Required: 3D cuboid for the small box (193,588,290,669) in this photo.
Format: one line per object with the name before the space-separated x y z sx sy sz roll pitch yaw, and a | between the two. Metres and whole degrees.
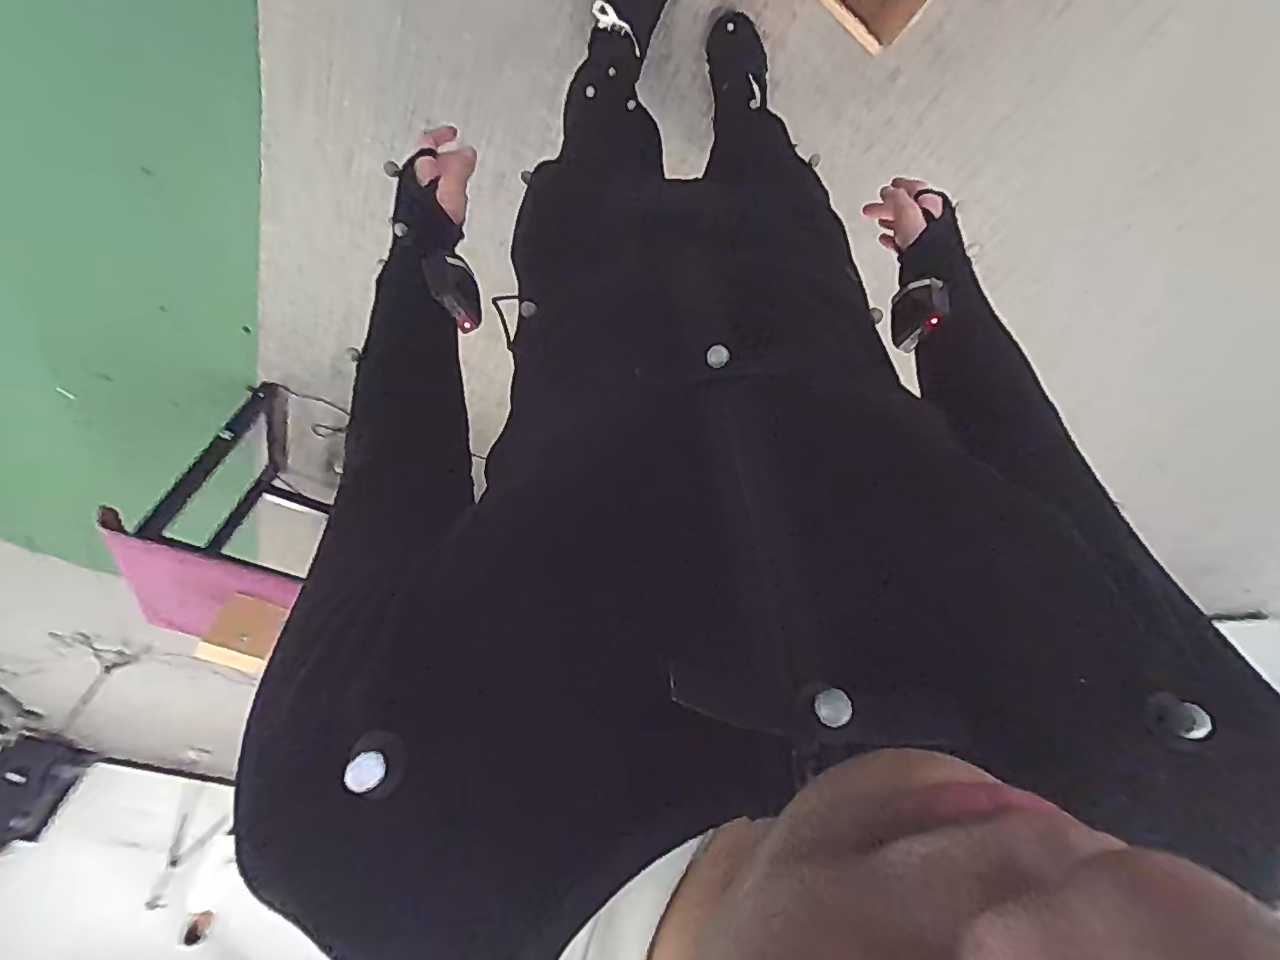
small box | -1.213 0.454 1.654 0.179 0.176 0.168 31 134 -25
